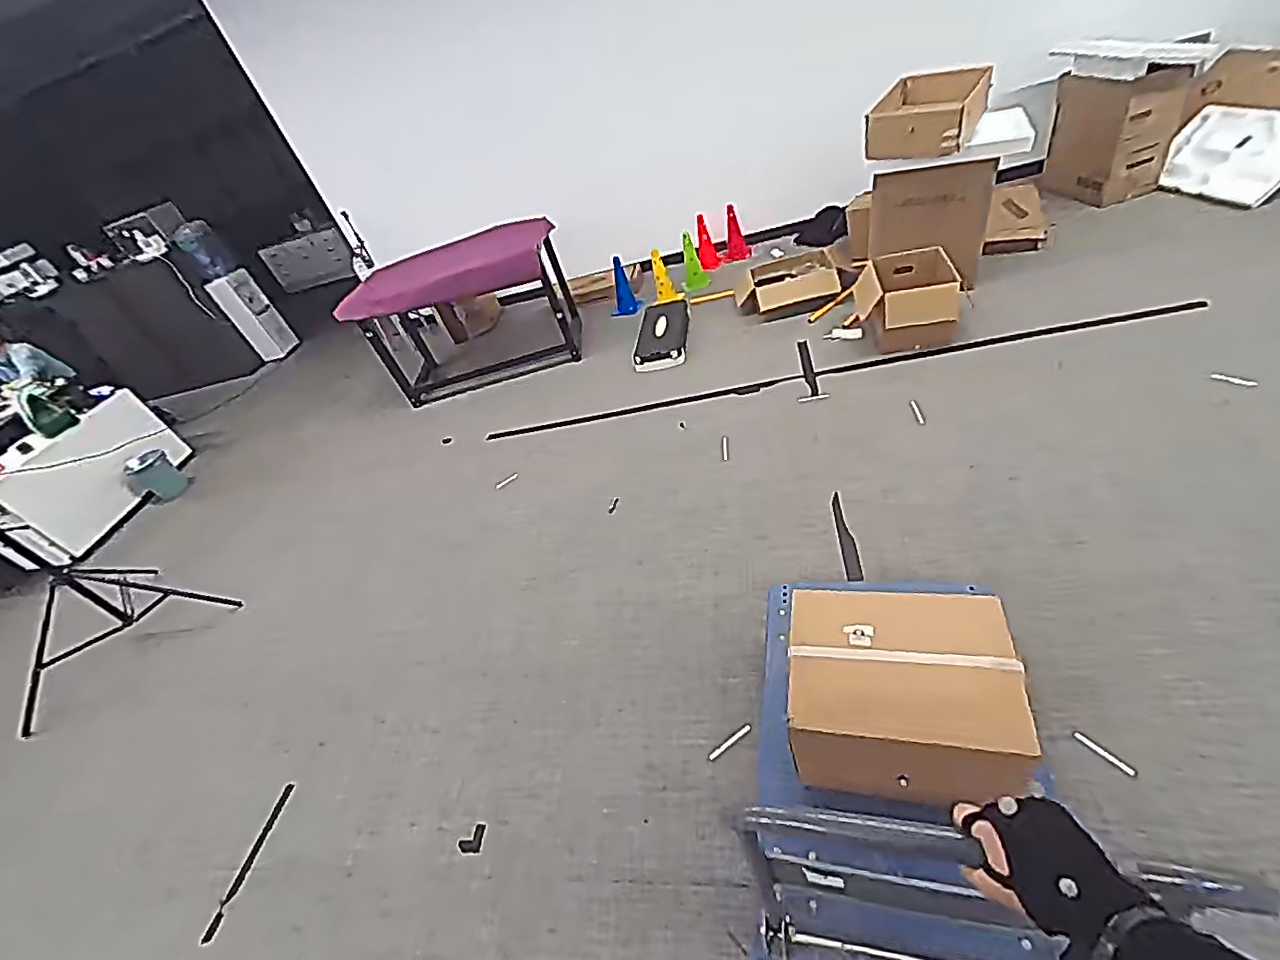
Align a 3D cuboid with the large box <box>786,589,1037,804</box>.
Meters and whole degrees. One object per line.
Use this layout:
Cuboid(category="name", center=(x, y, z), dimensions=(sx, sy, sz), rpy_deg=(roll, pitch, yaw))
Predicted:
Cuboid(category="large box", center=(0.533, 0.444, 1.137), dimensions=(0.408, 0.320, 0.320), rpy_deg=(-4, 42, 21))
